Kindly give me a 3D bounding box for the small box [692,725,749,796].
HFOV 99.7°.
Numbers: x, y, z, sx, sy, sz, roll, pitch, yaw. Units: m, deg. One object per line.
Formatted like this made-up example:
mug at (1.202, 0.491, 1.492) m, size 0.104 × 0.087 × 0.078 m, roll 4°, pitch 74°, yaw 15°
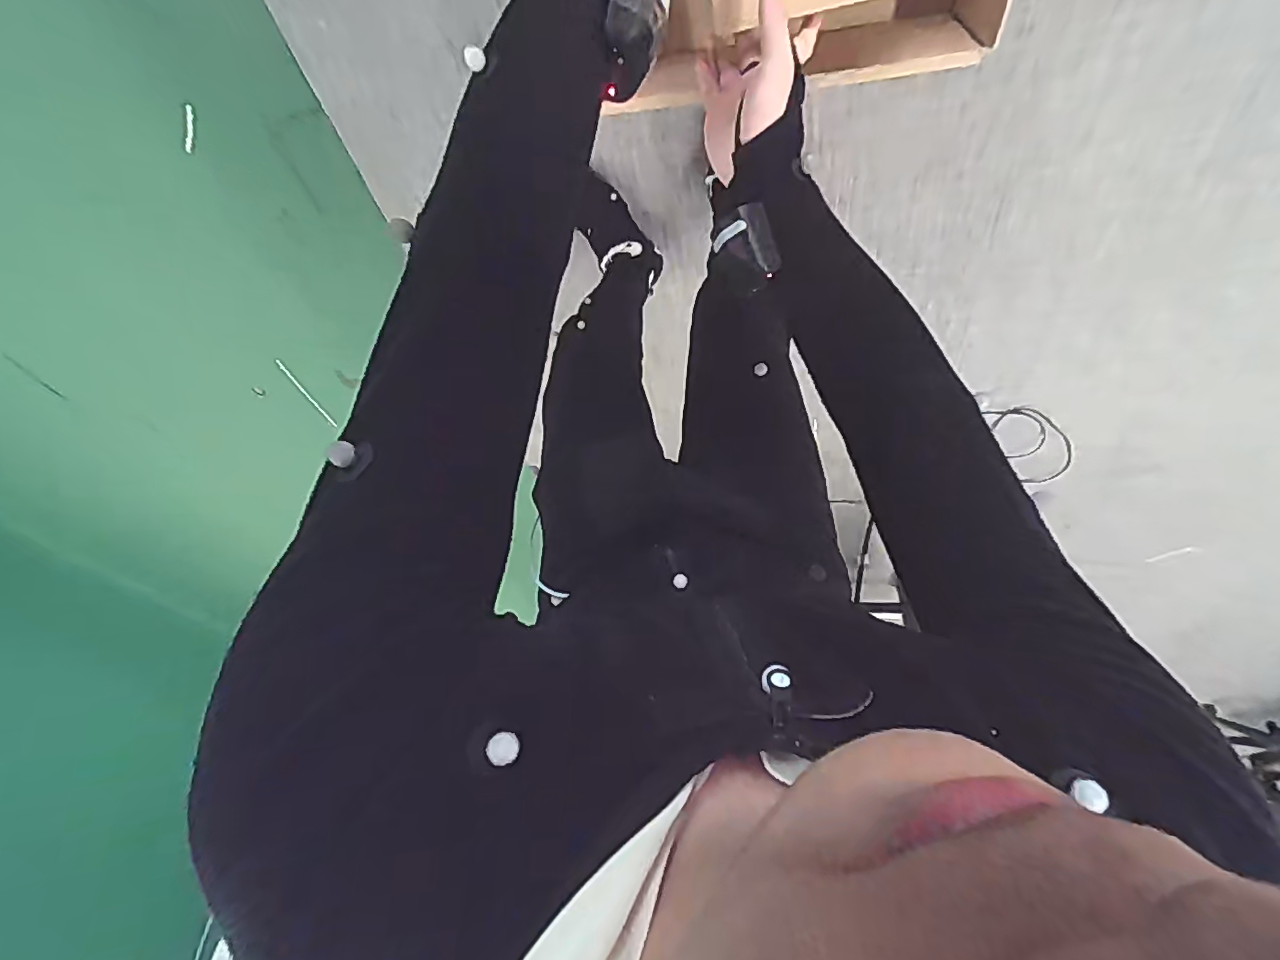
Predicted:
small box at (0.269, 0.920, 1.774) m, size 0.168 × 0.176 × 0.179 m, roll -3°, pitch 141°, yaw 15°
